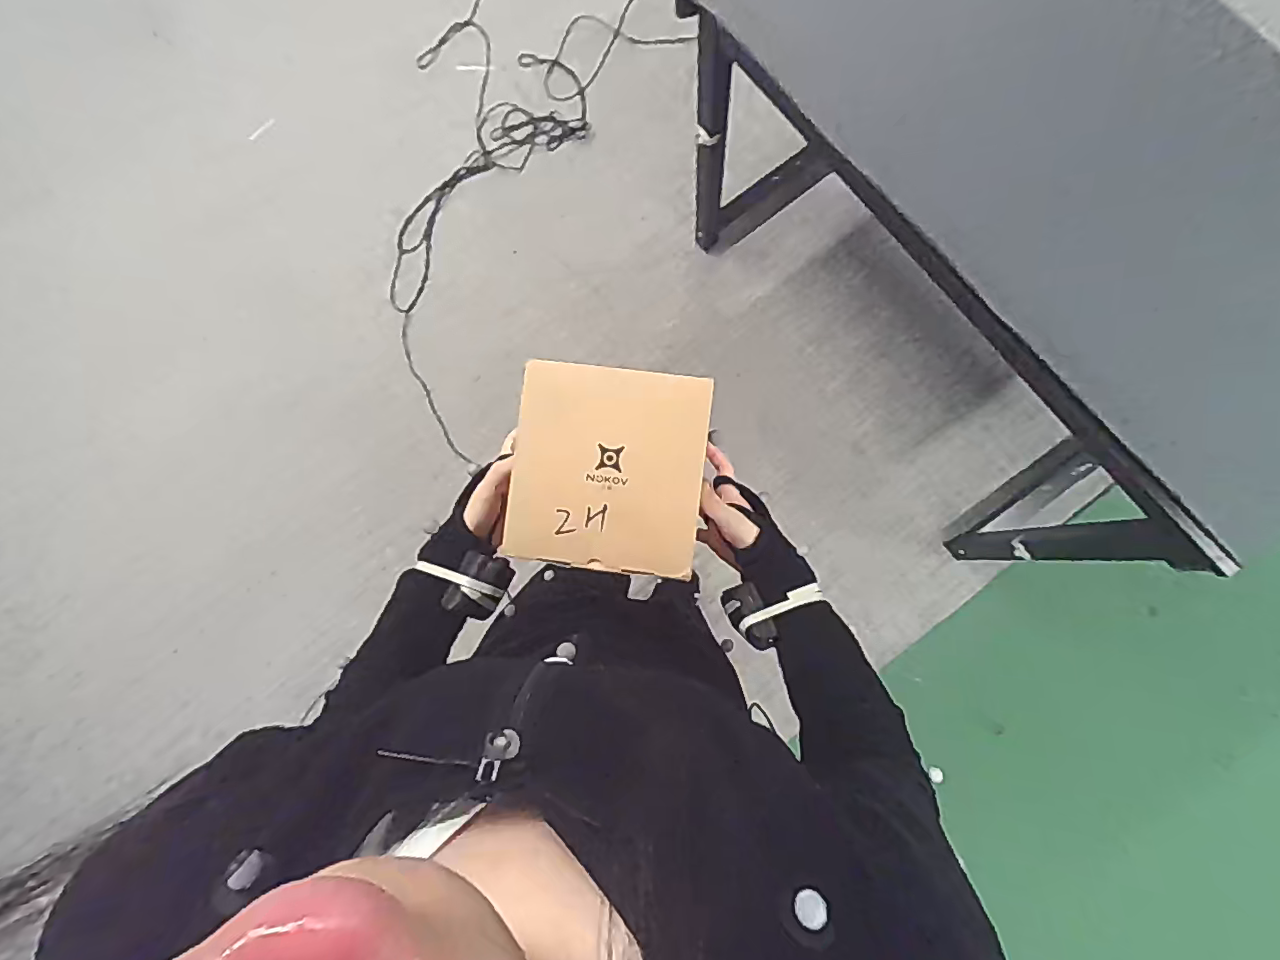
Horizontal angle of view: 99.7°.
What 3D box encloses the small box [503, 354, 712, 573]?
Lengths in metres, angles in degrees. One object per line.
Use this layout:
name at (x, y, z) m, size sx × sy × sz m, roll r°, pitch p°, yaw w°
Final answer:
small box at (-0.025, -0.012, 0.549) m, size 0.168 × 0.176 × 0.179 m, roll 7°, pitch 88°, yaw 3°
